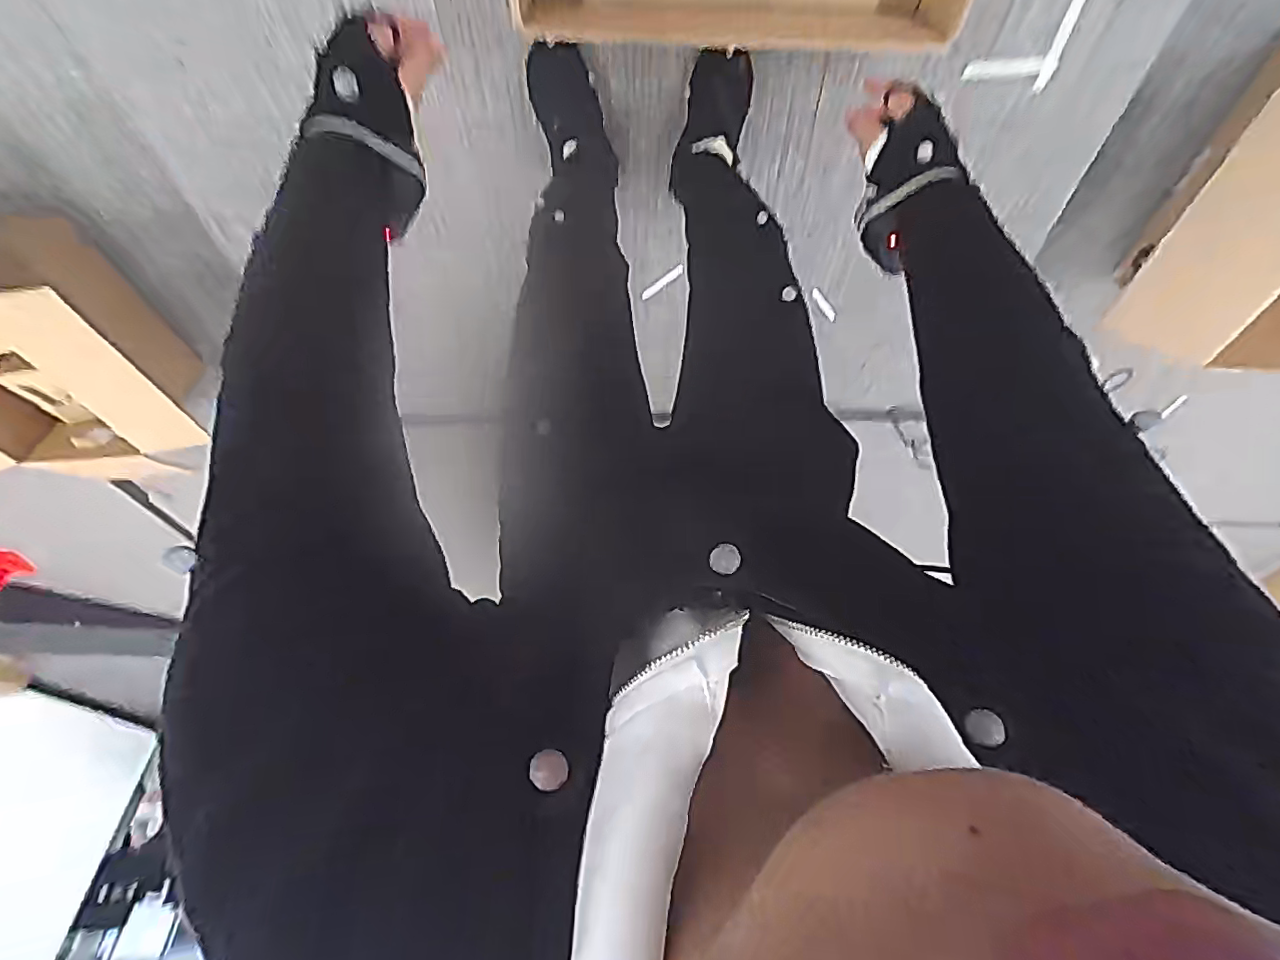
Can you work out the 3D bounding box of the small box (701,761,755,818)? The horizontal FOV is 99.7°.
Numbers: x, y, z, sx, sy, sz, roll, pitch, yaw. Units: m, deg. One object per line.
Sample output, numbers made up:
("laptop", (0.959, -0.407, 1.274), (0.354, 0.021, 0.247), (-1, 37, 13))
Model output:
("small box", (0.319, 1.139, 1.993), (0.168, 0.176, 0.179), (-1, 142, -1))
